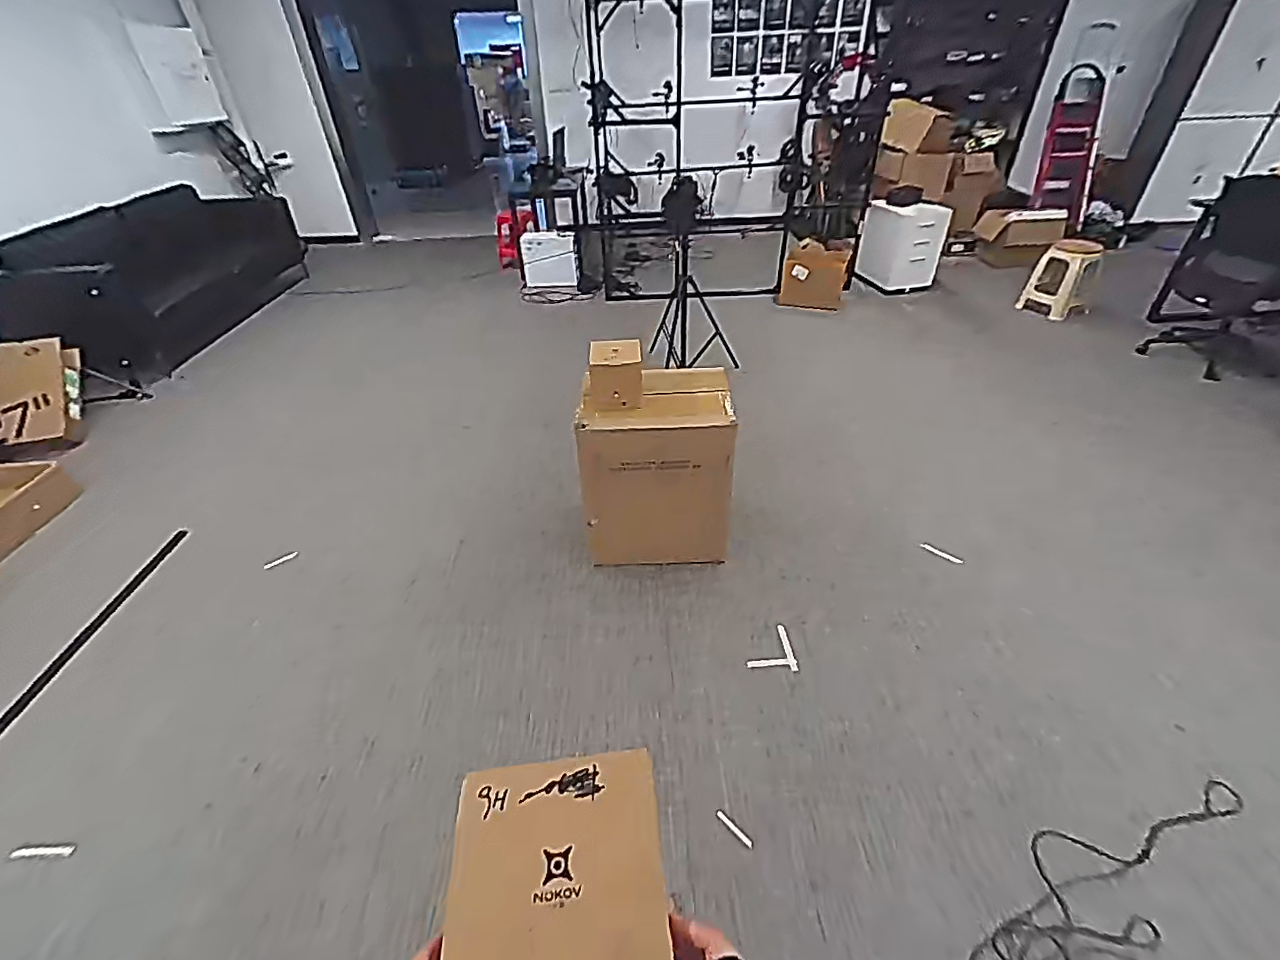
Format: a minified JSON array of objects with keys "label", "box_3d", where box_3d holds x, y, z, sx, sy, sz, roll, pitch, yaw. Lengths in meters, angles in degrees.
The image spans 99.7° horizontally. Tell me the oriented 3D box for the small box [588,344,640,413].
[{"label":"small box","box_3d":[-0.084,-0.342,1.819,0.168,0.176,0.179,-3,39,-1]}]
